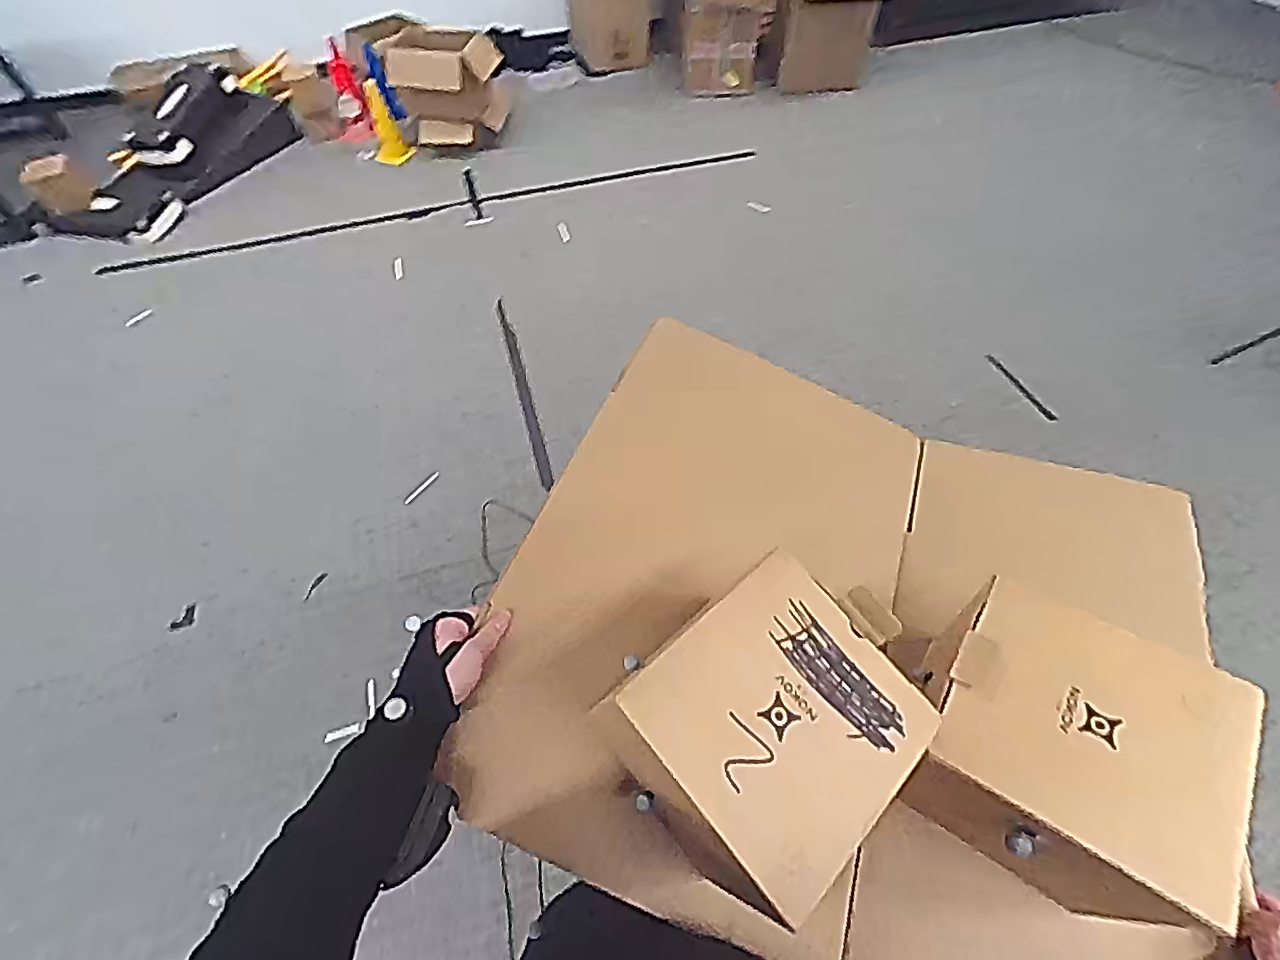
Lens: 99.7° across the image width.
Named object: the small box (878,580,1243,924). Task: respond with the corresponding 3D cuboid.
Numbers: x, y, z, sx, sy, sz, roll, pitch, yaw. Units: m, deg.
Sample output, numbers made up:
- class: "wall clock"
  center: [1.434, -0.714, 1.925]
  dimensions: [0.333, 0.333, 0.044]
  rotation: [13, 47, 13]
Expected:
- class: "small box"
  center: [0.330, 0.221, 0.457]
  dimensions: [0.179, 0.176, 0.168]
  rotation: [25, 63, 26]
